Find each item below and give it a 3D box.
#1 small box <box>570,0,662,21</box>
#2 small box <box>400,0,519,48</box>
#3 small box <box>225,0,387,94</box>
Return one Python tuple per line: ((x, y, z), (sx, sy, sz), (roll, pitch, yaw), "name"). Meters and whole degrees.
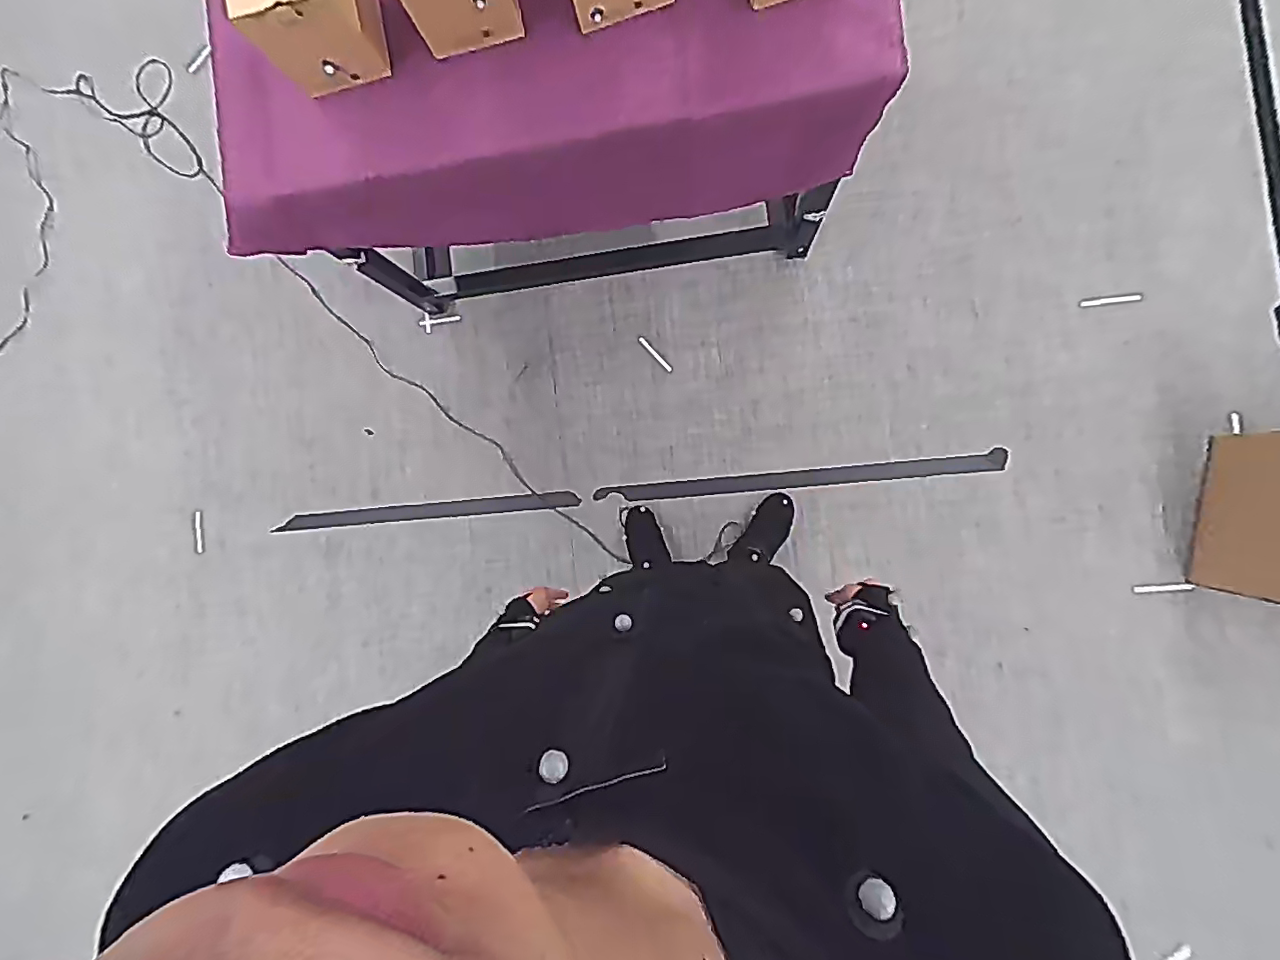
((-0.055, -0.868, 0.838), (0.168, 0.176, 0.179), (-15, 87, 6), "small box")
((-0.305, -0.843, 0.869), (0.168, 0.176, 0.179), (-9, 88, 6), "small box")
((-0.550, -0.795, 0.894), (0.168, 0.176, 0.179), (-10, 88, 7), "small box")
